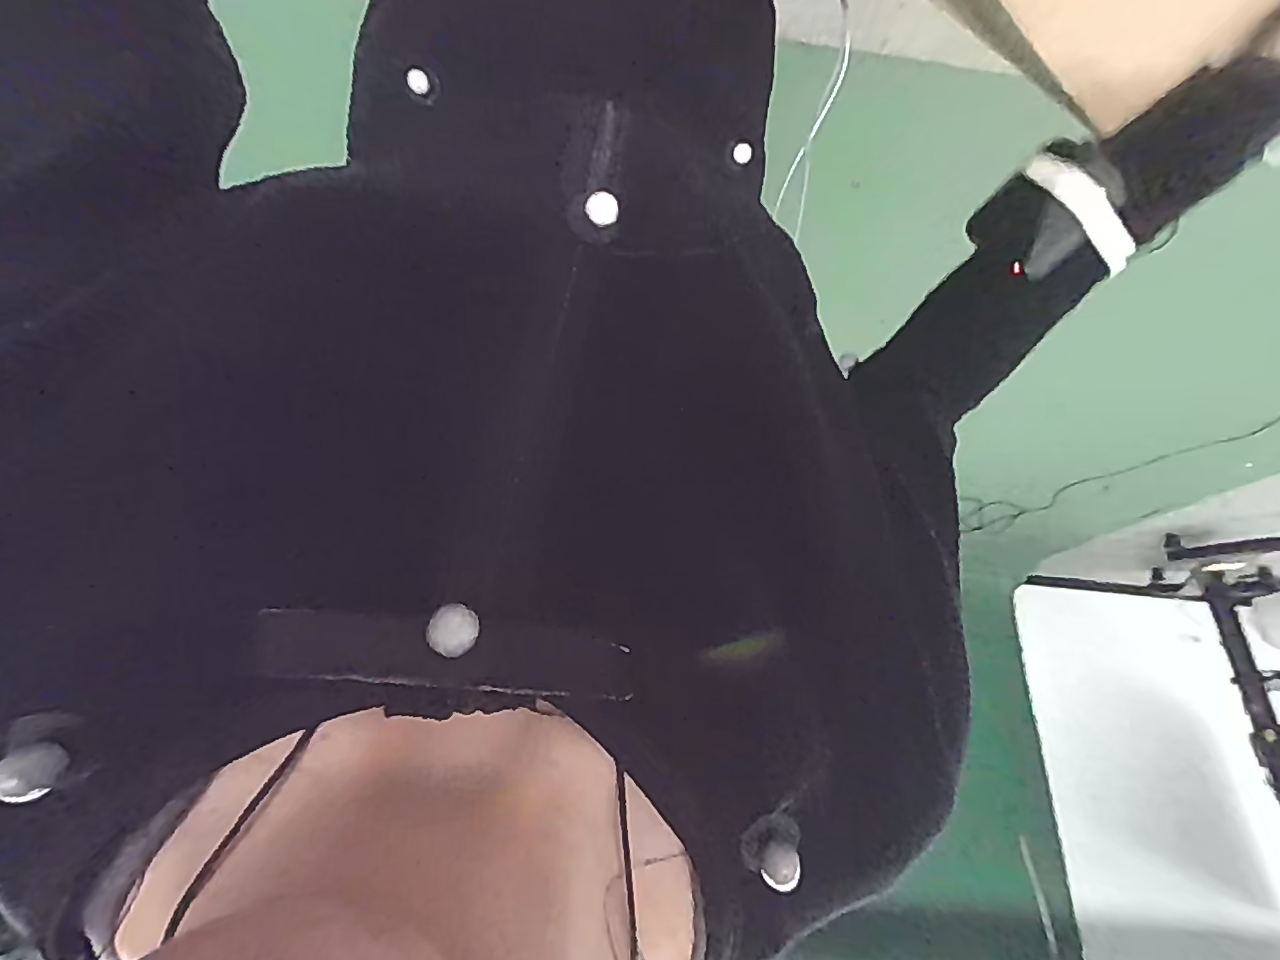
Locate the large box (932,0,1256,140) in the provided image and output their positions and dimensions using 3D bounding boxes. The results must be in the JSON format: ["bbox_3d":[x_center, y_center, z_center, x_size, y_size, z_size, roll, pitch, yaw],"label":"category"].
[{"bbox_3d":[0.195,-0.465,0.233,0.408,0.320,0.320,25,137,-25],"label":"large box"}]
